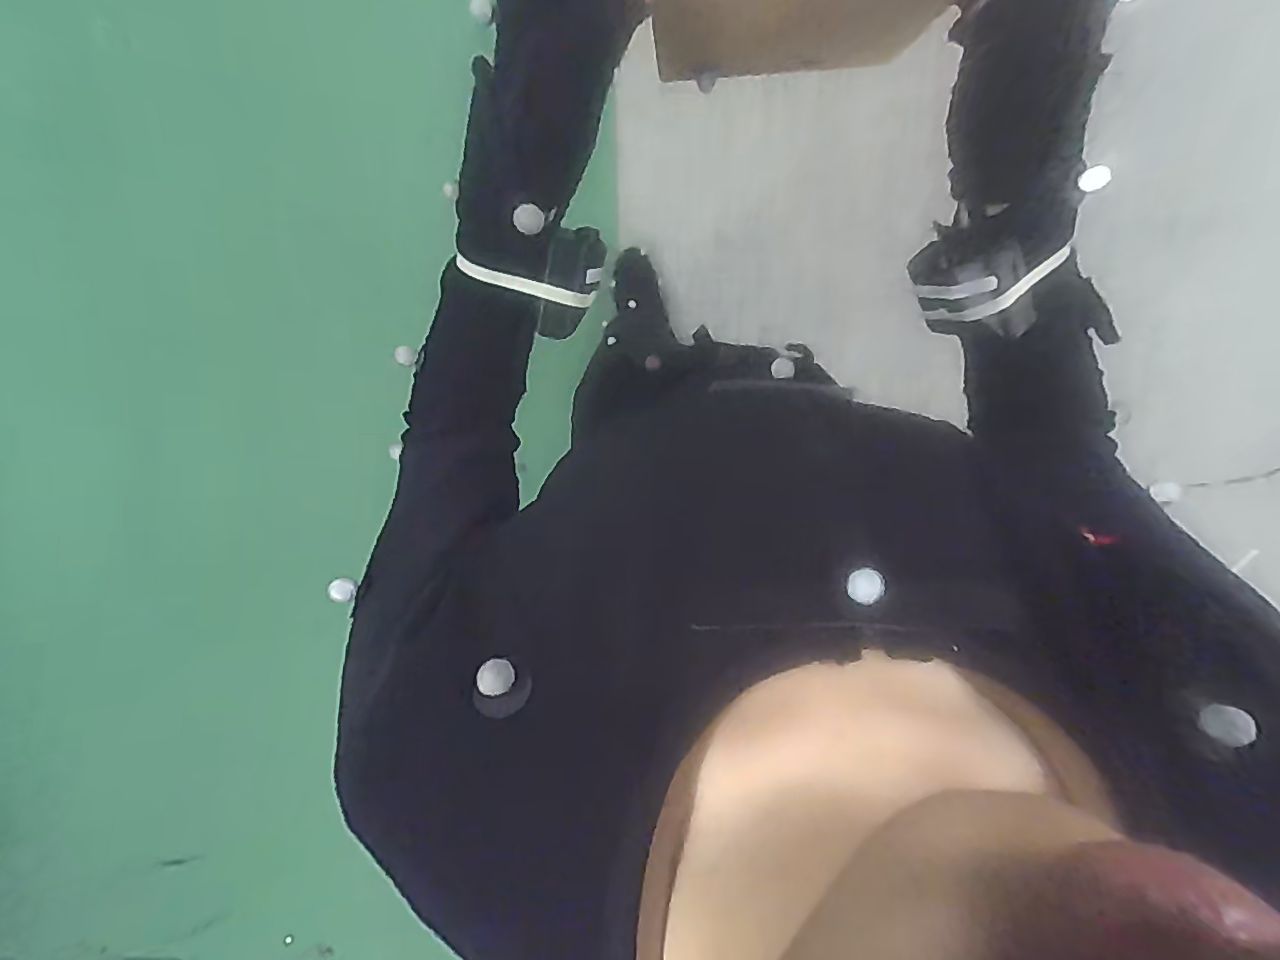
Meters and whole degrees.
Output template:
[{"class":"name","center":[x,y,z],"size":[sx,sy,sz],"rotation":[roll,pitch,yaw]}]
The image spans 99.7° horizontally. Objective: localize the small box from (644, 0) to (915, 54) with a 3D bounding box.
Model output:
[{"class":"small box","center":[0.080,-0.346,0.272],"size":[0.168,0.176,0.179],"rotation":[-1,110,4]}]
